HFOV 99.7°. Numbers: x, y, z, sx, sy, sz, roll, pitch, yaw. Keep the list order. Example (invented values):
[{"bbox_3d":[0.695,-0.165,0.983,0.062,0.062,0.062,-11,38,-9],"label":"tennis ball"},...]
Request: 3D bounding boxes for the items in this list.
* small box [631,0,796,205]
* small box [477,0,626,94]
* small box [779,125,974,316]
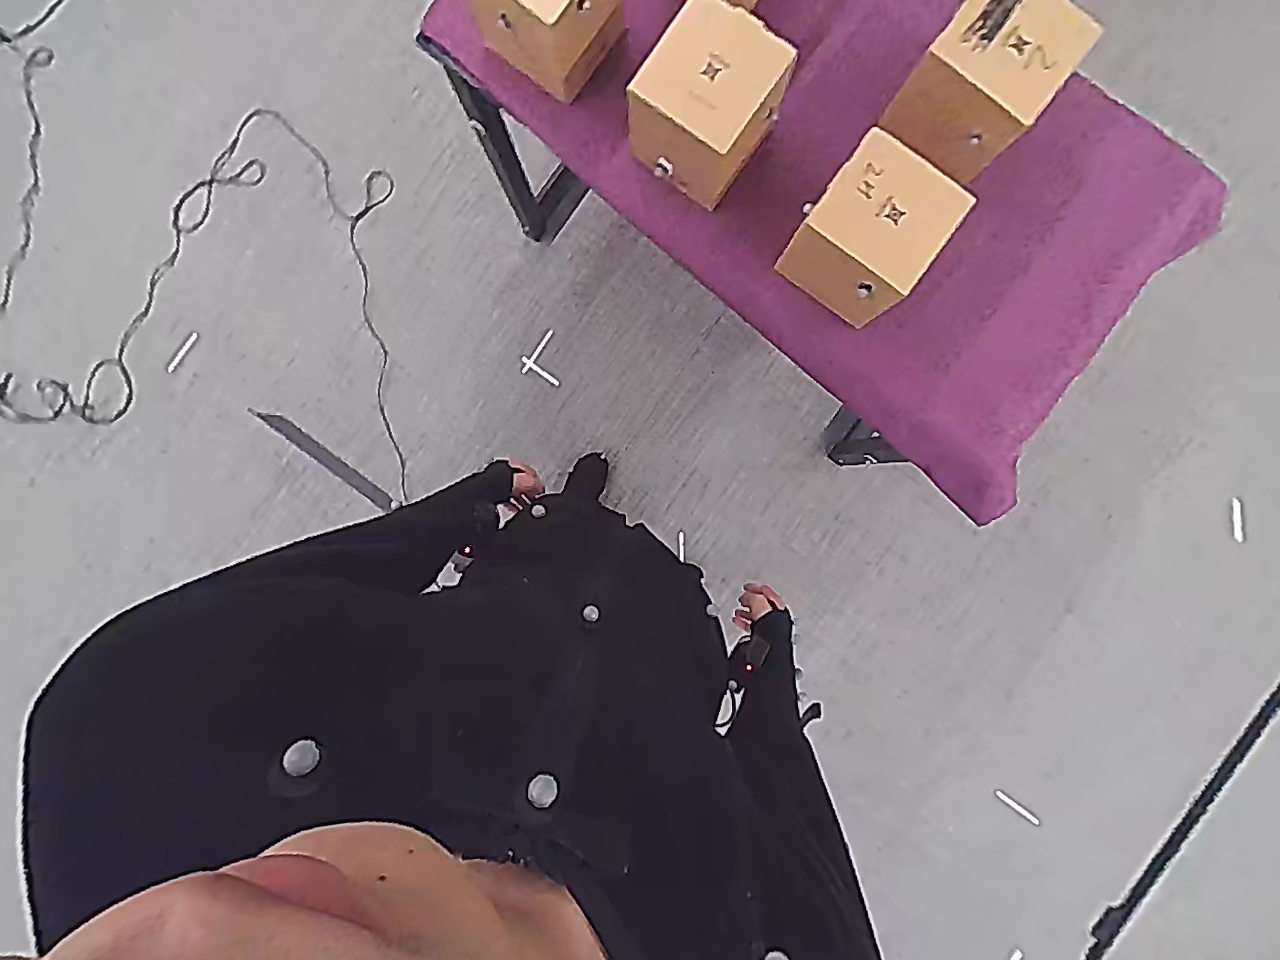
[{"bbox_3d":[0.101,-0.566,0.817,0.168,0.176,0.179,36,93,1],"label":"small box"},{"bbox_3d":[-0.138,-0.740,0.813,0.179,0.176,0.168,37,92,0],"label":"small box"},{"bbox_3d":[0.340,-0.370,0.815,0.179,0.176,0.168,36,90,0],"label":"small box"}]
